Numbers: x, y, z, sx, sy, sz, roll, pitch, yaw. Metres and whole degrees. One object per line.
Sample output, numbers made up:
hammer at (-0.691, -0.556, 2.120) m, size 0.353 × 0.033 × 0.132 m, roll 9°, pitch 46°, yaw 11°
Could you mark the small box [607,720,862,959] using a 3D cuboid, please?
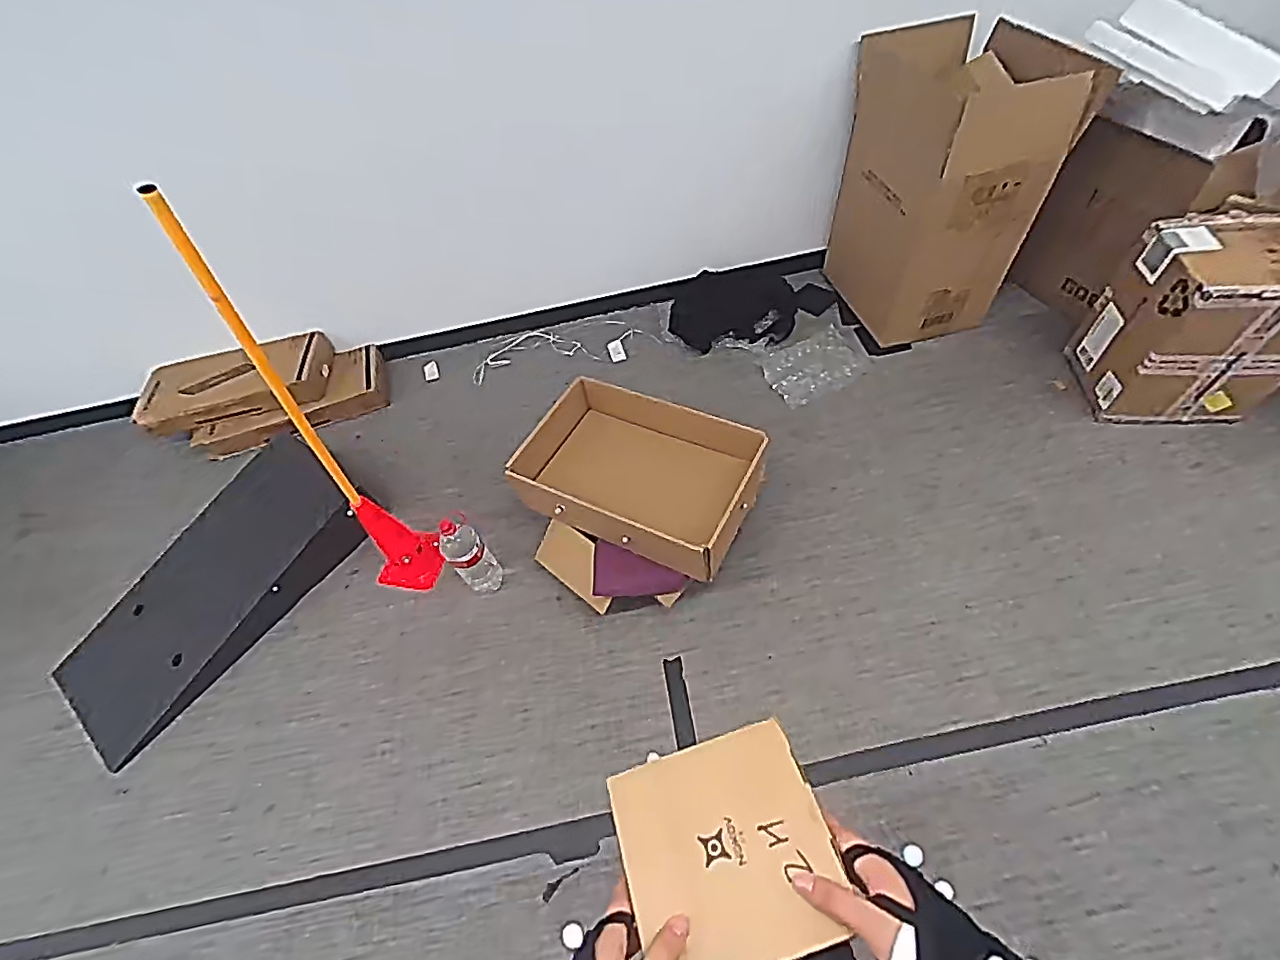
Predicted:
small box at (0.084, 0.364, 0.520) m, size 0.179 × 0.176 × 0.168 m, roll -18°, pitch 49°, yaw -3°
